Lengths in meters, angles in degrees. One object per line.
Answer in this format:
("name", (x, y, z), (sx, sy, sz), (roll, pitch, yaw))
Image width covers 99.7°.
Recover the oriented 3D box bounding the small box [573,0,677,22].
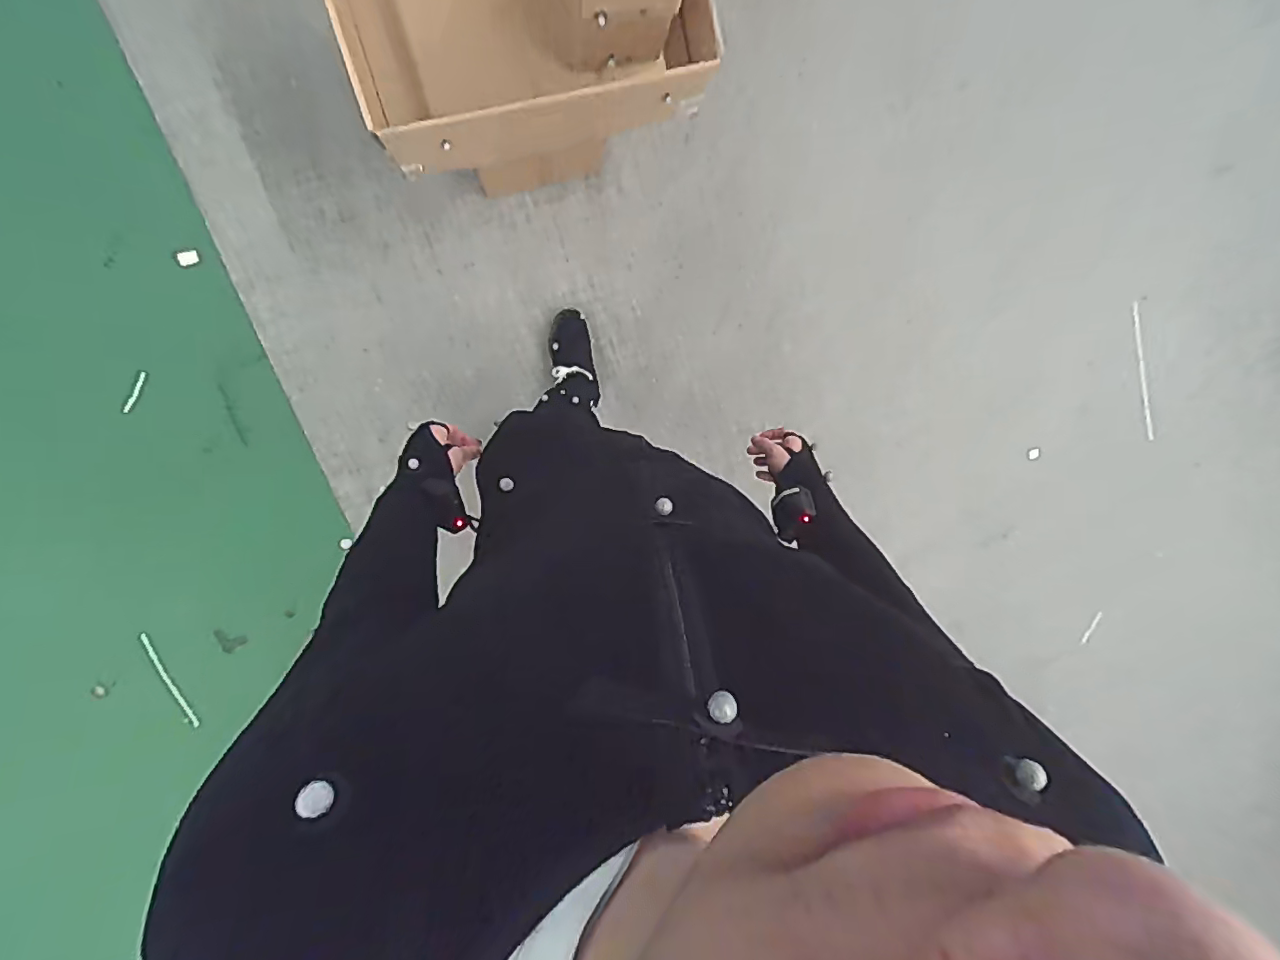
("small box", (-0.026, -0.804, 0.776), (0.168, 0.176, 0.179), (-13, 102, -5))
